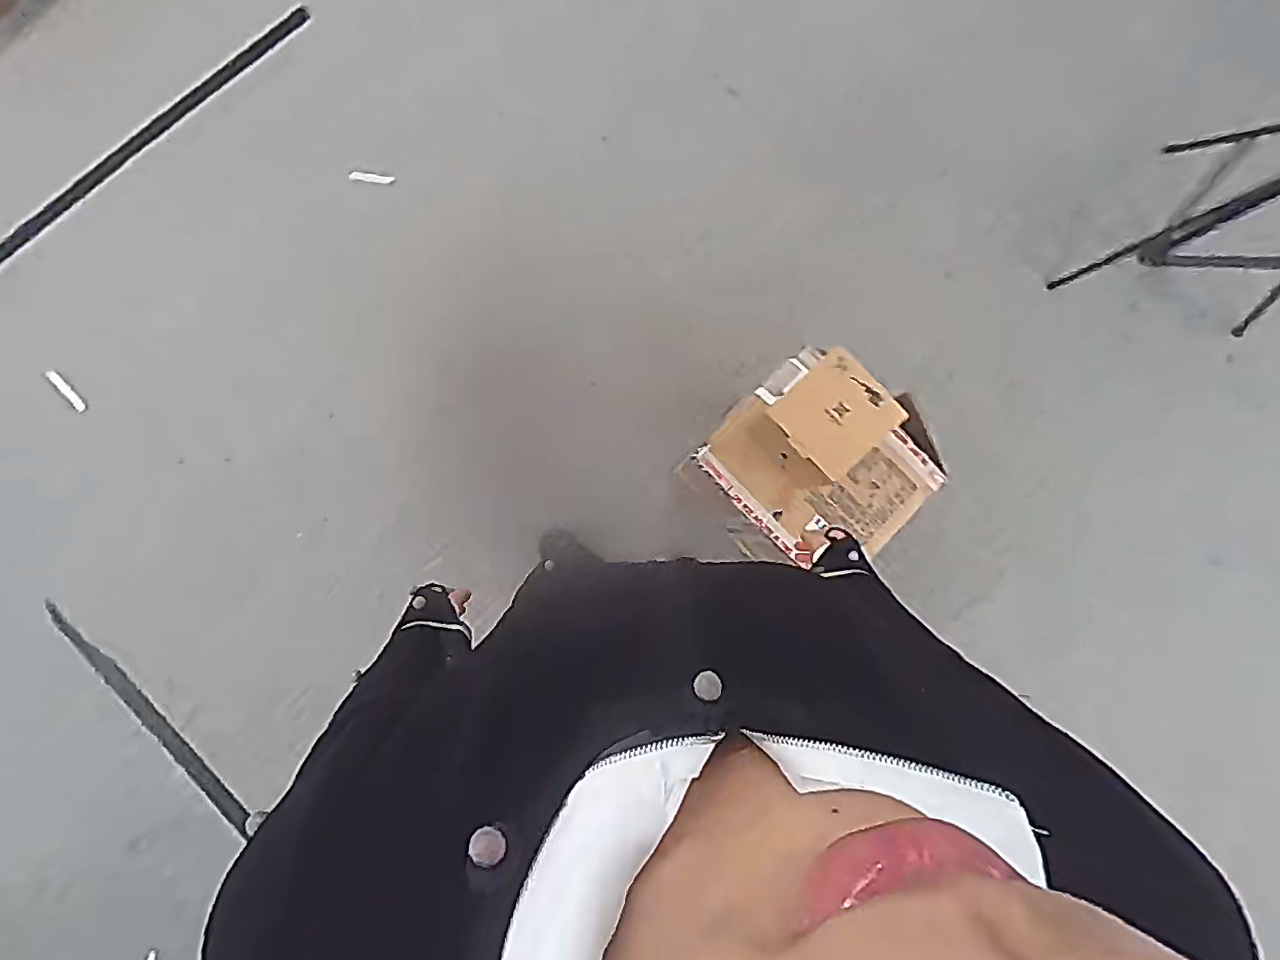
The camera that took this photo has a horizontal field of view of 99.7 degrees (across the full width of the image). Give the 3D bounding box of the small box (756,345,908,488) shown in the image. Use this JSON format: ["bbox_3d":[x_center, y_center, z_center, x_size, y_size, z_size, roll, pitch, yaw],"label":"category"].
[{"bbox_3d":[0.325,-0.101,0.963,0.179,0.176,0.168,-41,86,-2],"label":"small box"}]
